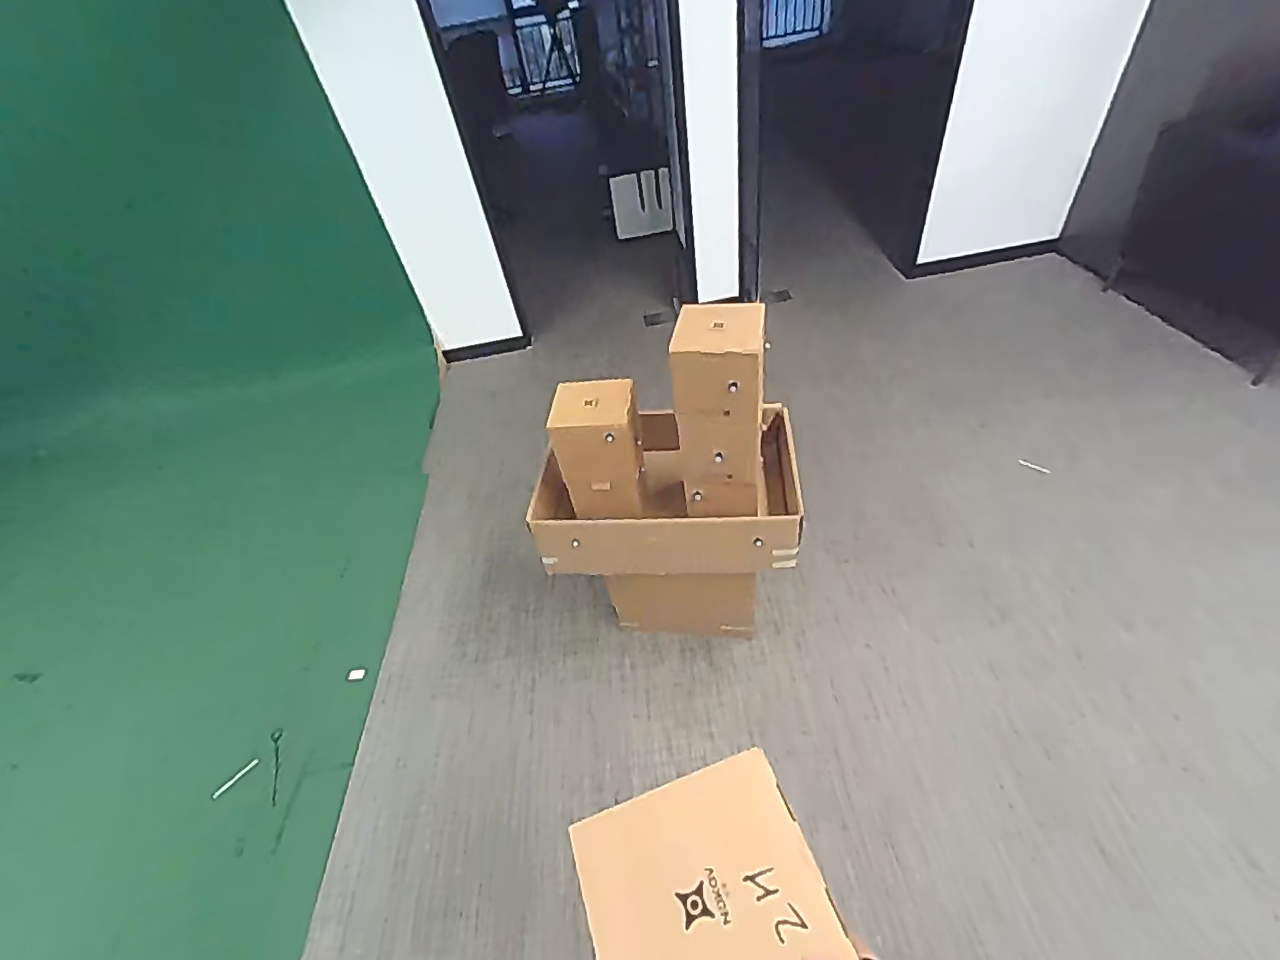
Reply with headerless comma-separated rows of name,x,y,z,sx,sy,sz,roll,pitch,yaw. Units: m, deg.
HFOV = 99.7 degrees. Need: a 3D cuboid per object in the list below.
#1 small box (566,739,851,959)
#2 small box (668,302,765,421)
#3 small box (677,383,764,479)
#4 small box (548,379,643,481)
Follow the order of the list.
small box,0.055,0.358,0.469,0.179,0.176,0.168,-19,51,-5
small box,0.159,-0.232,1.072,0.168,0.176,0.179,4,45,15
small box,0.184,-0.117,1.186,0.168,0.176,0.179,2,47,14
small box,-0.094,-0.112,1.242,0.179,0.176,0.168,-2,45,8
